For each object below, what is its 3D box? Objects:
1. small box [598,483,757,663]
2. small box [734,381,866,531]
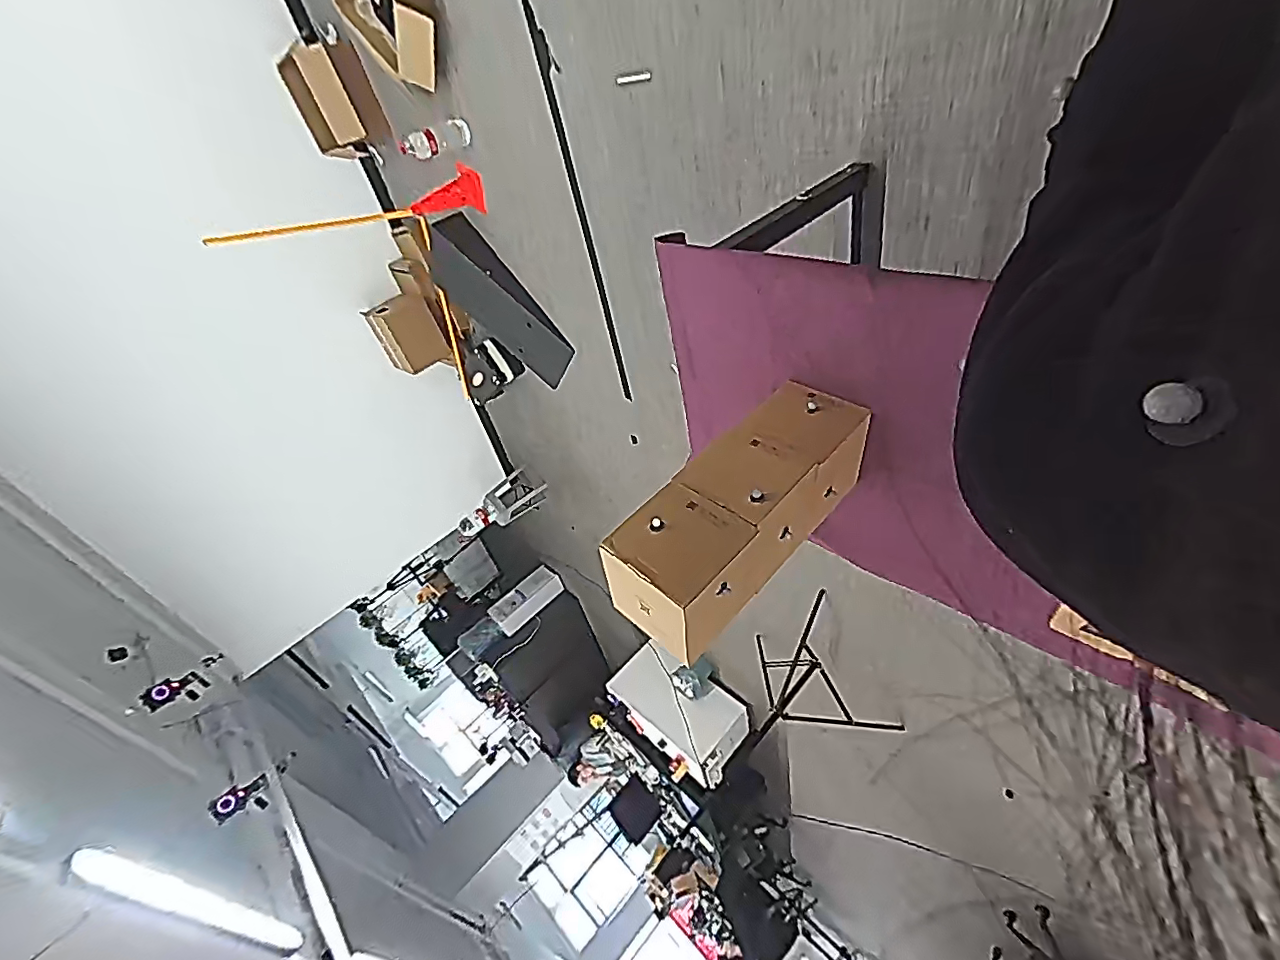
[{"bbox_3d":[0.063,0.135,0.826,0.168,0.176,0.179,33,150,33],"label":"small box"},{"bbox_3d":[0.287,-0.048,0.979,0.168,0.176,0.179,30,147,34],"label":"small box"}]
